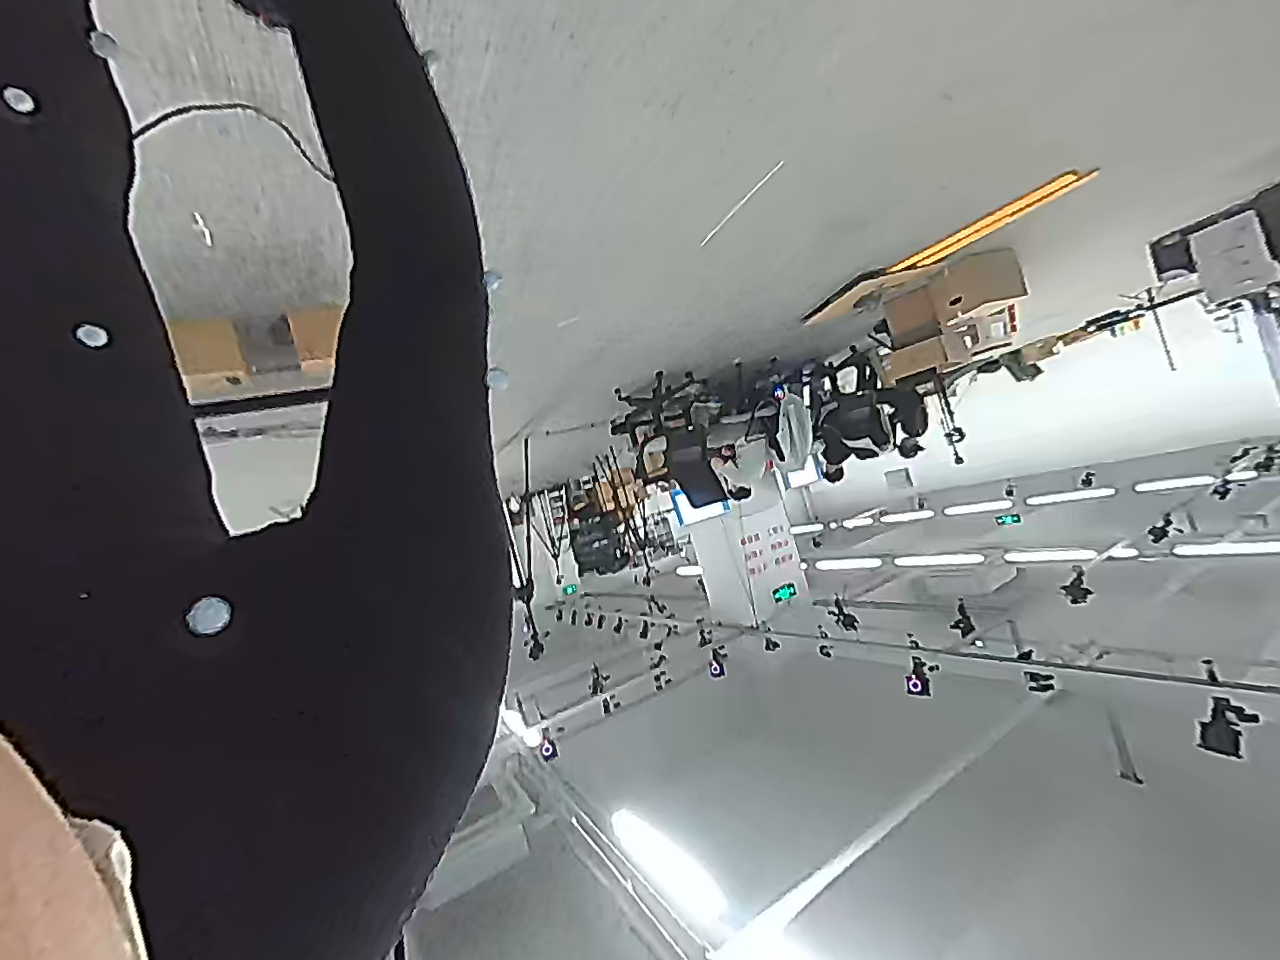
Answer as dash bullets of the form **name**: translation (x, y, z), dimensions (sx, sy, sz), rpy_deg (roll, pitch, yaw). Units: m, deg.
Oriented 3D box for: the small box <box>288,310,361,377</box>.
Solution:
- **small box**: translation (-1.059, -0.463, 1.823), dimensions (0.179, 0.176, 0.168), rpy_deg (-14, 177, -27)
